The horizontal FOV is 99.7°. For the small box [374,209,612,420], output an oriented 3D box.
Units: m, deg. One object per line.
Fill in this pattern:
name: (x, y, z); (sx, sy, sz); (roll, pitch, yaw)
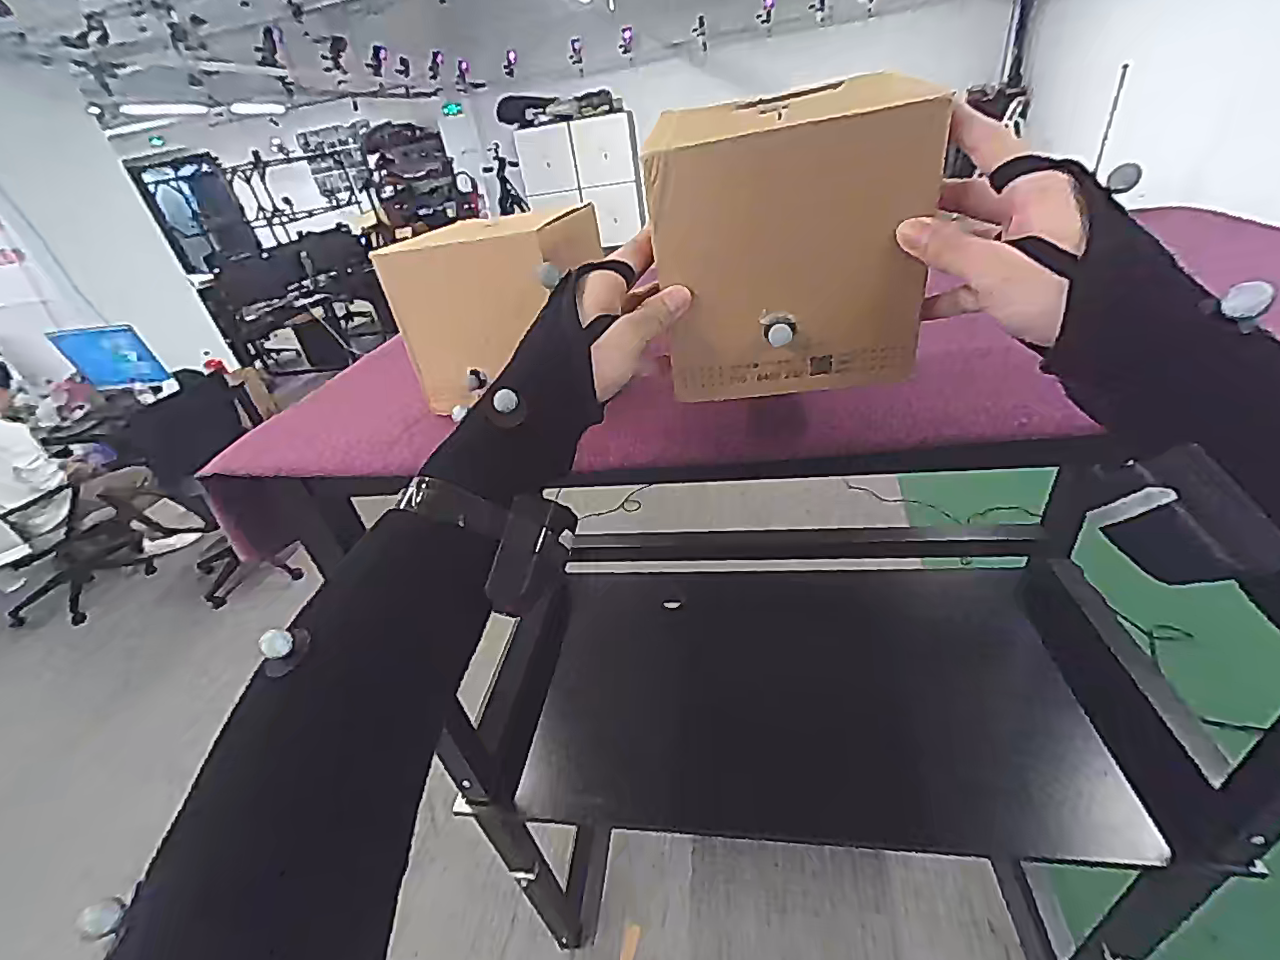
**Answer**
small box: (-0.134, -0.176, 0.576); (0.168, 0.176, 0.179); (-1, 34, 15)

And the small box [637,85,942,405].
small box: (0.101, -0.175, 0.407); (0.168, 0.176, 0.179); (-4, 39, 12)
